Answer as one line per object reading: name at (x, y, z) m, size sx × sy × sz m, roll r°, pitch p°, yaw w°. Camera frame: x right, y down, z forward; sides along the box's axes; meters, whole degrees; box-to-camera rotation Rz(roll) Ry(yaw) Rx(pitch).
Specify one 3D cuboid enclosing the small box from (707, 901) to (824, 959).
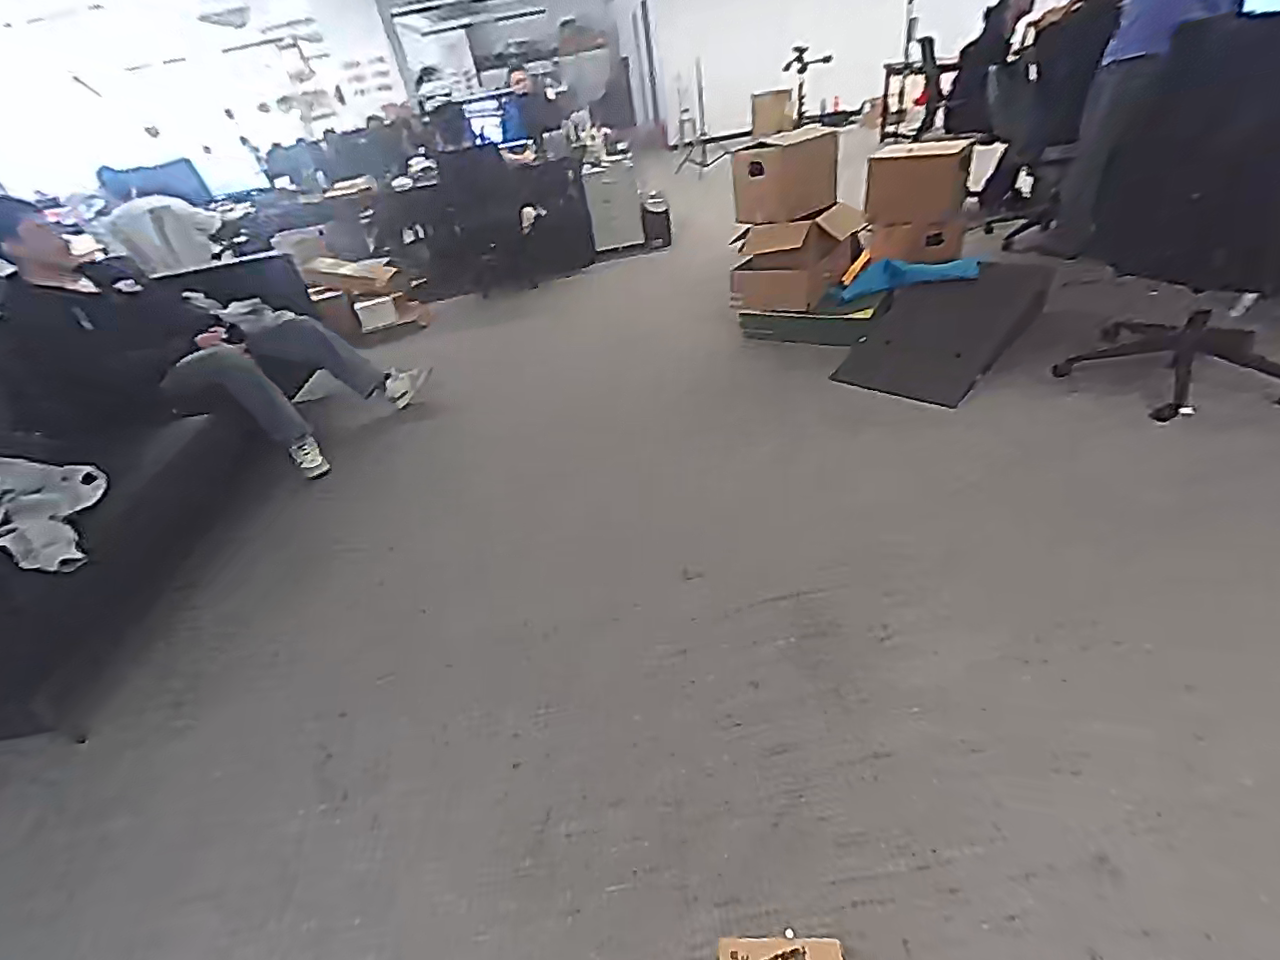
small box at (0.188, 0.733, 0.729) m, size 0.179 × 0.176 × 0.168 m, roll -26°, pitch 35°, yaw -15°
